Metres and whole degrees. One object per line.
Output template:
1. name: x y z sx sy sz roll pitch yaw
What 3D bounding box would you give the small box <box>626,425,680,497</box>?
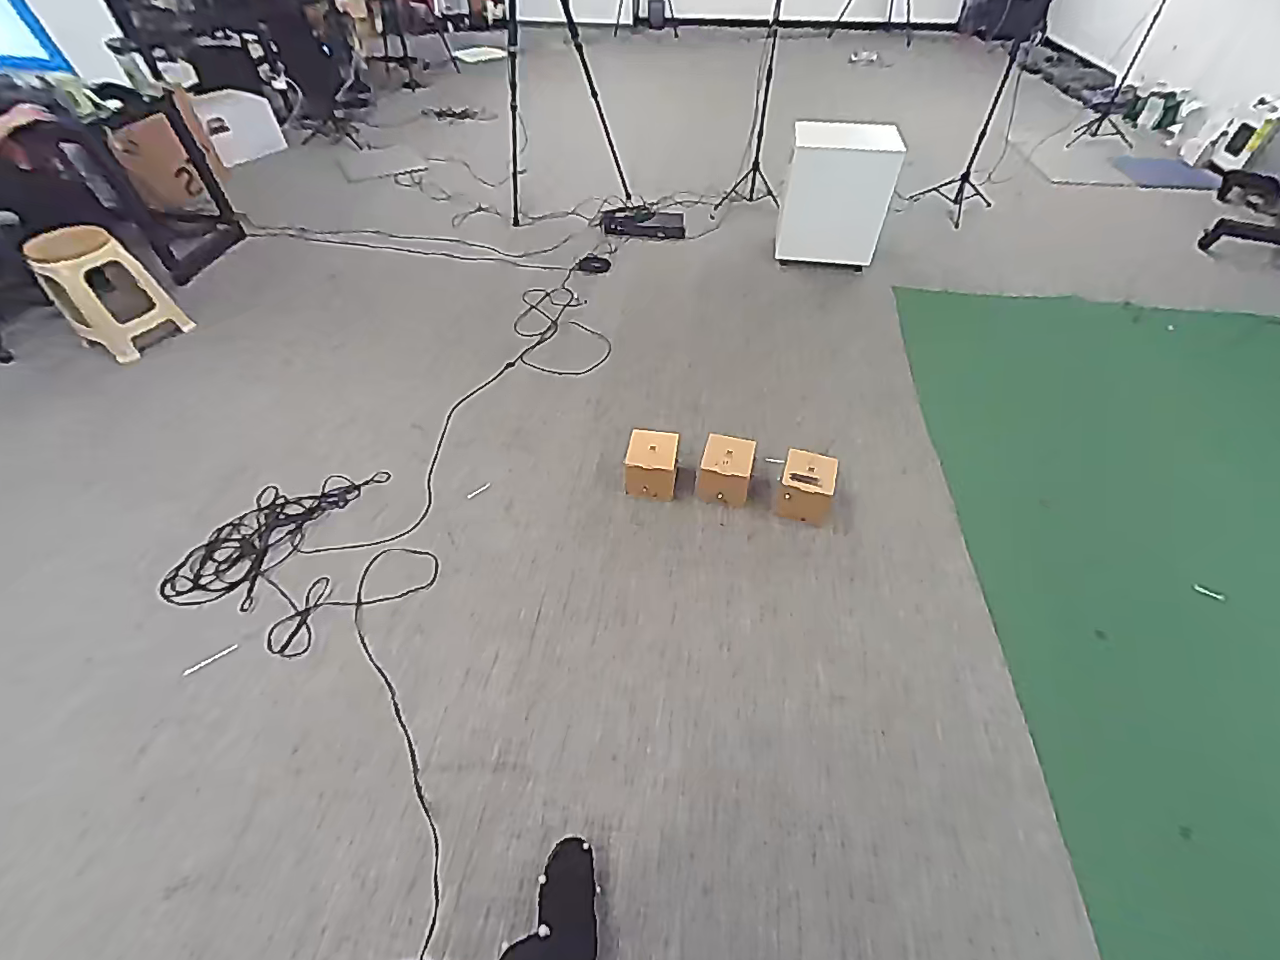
1. small box: 0.046 -0.066 1.905 0.168 0.176 0.179 6 50 6

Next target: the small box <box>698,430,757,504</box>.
1. small box: 0.301 -0.045 1.884 0.168 0.176 0.179 12 51 11
